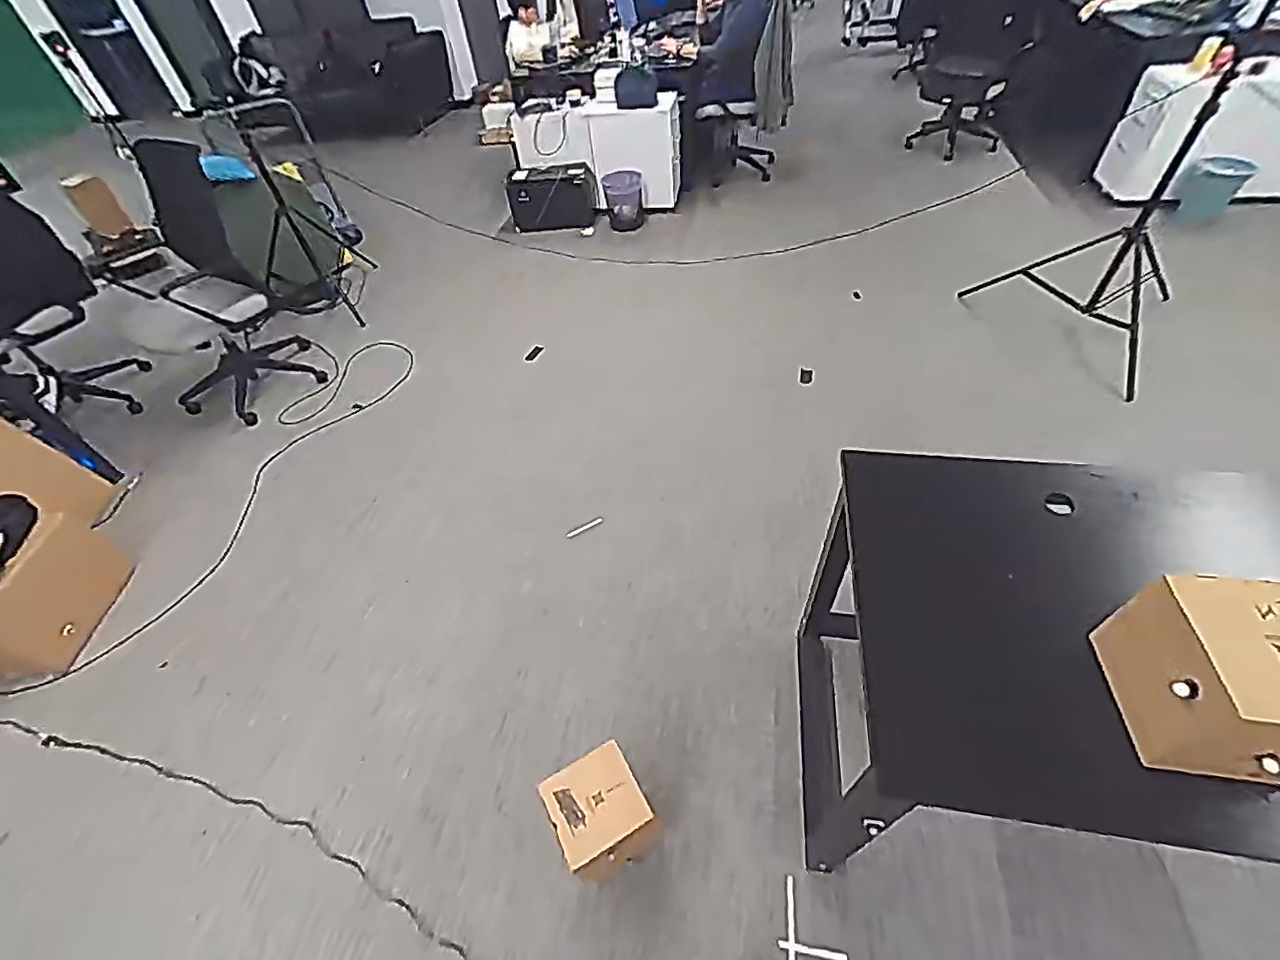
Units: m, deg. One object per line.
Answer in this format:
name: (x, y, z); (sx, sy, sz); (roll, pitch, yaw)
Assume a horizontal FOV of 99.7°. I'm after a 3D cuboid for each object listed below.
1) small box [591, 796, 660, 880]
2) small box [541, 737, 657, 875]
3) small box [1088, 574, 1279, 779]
small box: (-0.068, 0.774, 1.240); (0.179, 0.176, 0.168); (-26, 50, -18)
small box: (-0.079, 0.672, 1.109); (0.179, 0.176, 0.168); (-25, 50, -16)
small box: (0.697, 0.238, 0.650); (0.168, 0.176, 0.179); (4, 48, 9)
